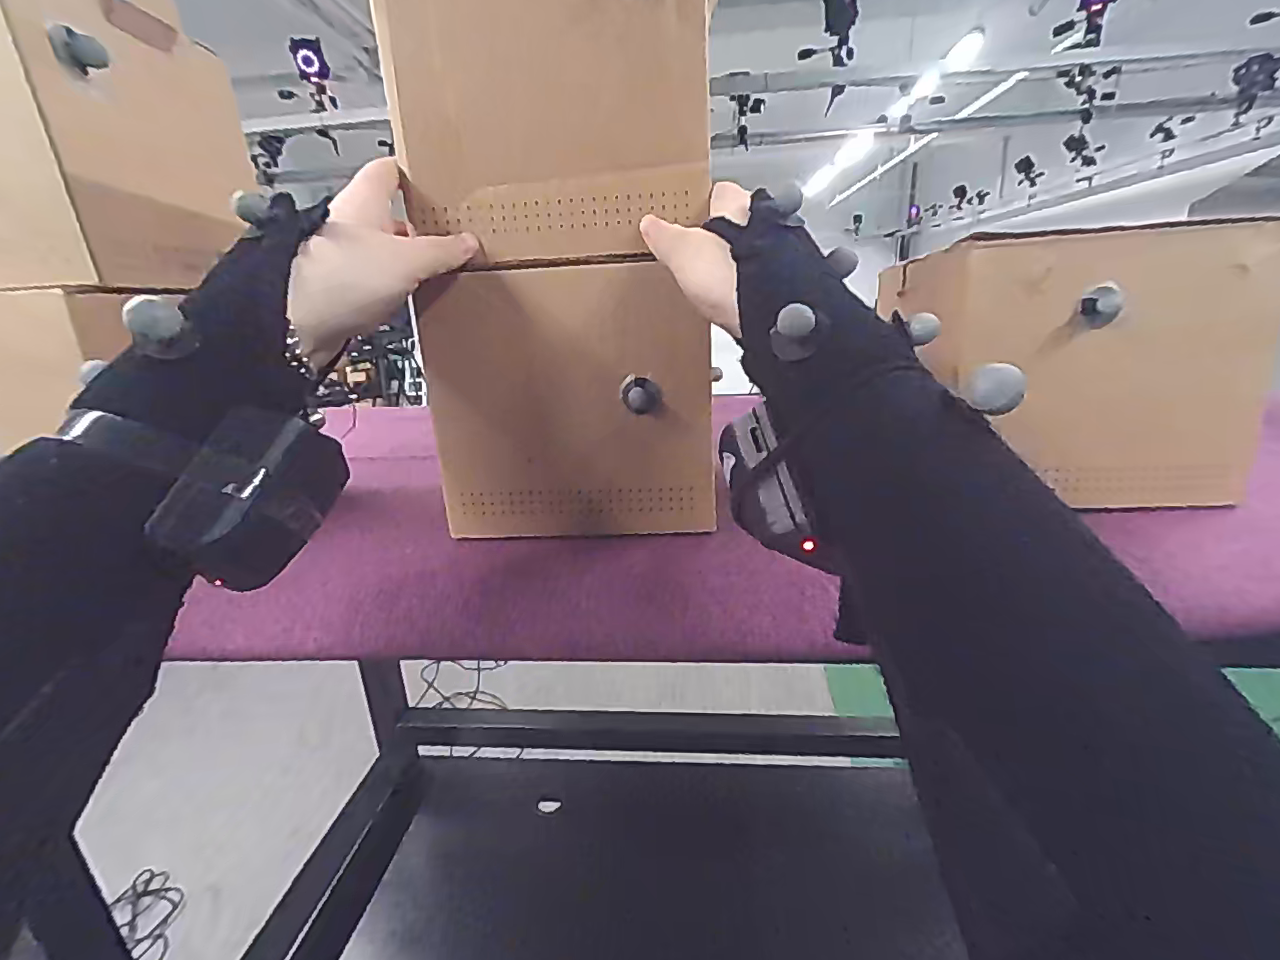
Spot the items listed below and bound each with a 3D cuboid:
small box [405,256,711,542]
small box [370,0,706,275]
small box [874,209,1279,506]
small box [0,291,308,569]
[{"bbox_3d":[-0.039,-0.061,0.400,0.179,0.176,0.168,-3,15,4],"label":"small box"},{"bbox_3d":[-0.051,-0.219,0.359,0.179,0.176,0.168,-2,16,2],"label":"small box"},{"bbox_3d":[0.283,-0.081,0.395,0.179,0.176,0.168,-1,16,7],"label":"small box"},{"bbox_3d":[-0.382,-0.044,0.397,0.168,0.176,0.179,-1,18,3],"label":"small box"}]
